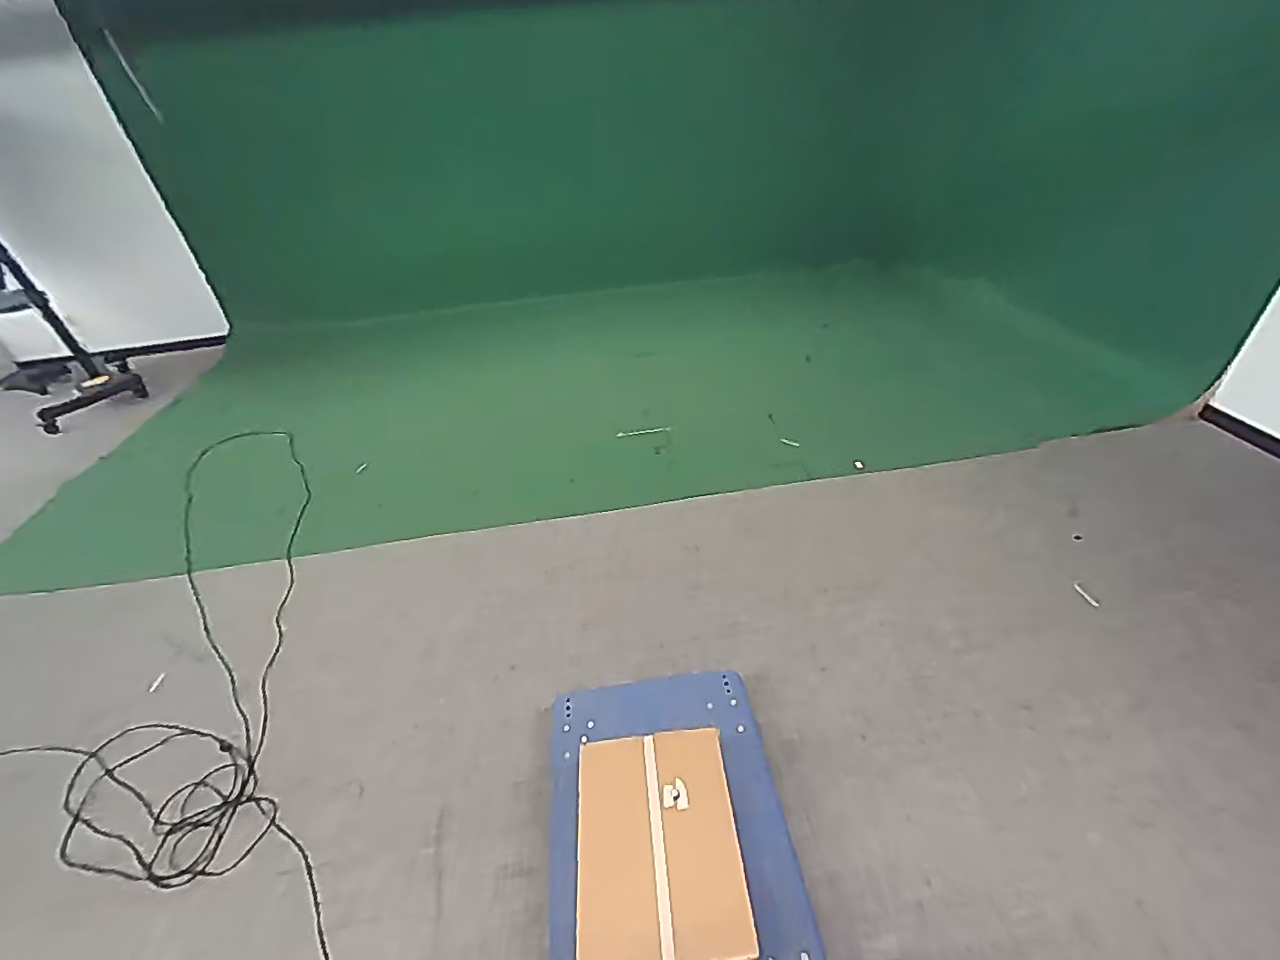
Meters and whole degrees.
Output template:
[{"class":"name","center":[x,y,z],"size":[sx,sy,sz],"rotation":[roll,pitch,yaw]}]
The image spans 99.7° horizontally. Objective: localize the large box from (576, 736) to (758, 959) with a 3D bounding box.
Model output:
[{"class":"large box","center":[0.043,0.830,1.144],"size":[0.320,0.320,0.408],"rotation":[-6,36,-1]}]
